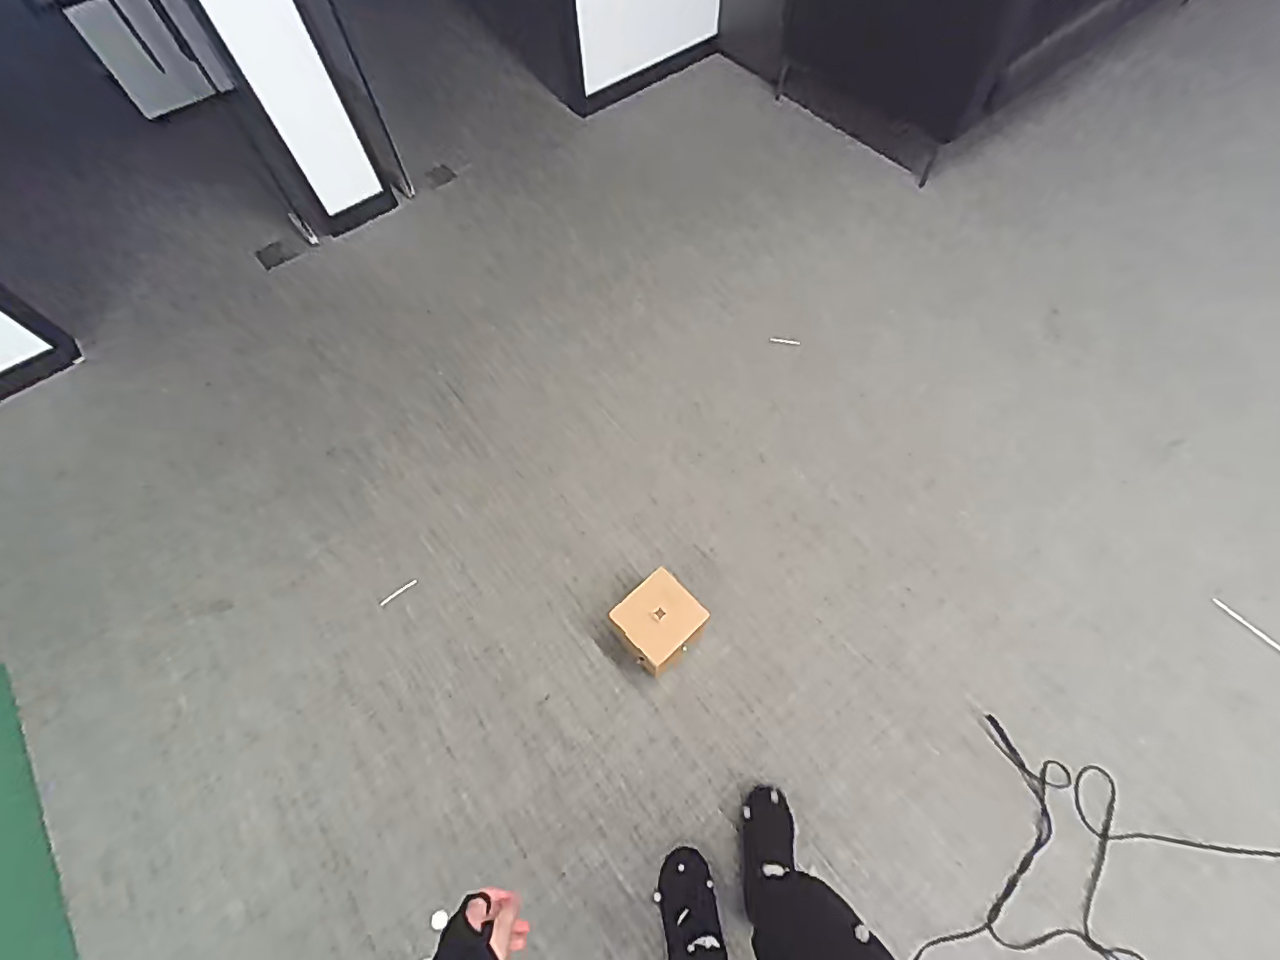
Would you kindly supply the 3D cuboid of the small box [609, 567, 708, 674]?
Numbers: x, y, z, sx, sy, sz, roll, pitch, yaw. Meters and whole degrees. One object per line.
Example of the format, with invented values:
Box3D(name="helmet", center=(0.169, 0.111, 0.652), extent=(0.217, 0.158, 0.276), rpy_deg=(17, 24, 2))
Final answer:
Box3D(name="small box", center=(0.045, 0.351, 1.323), extent=(0.179, 0.176, 0.168), rpy_deg=(-39, 69, -17))
